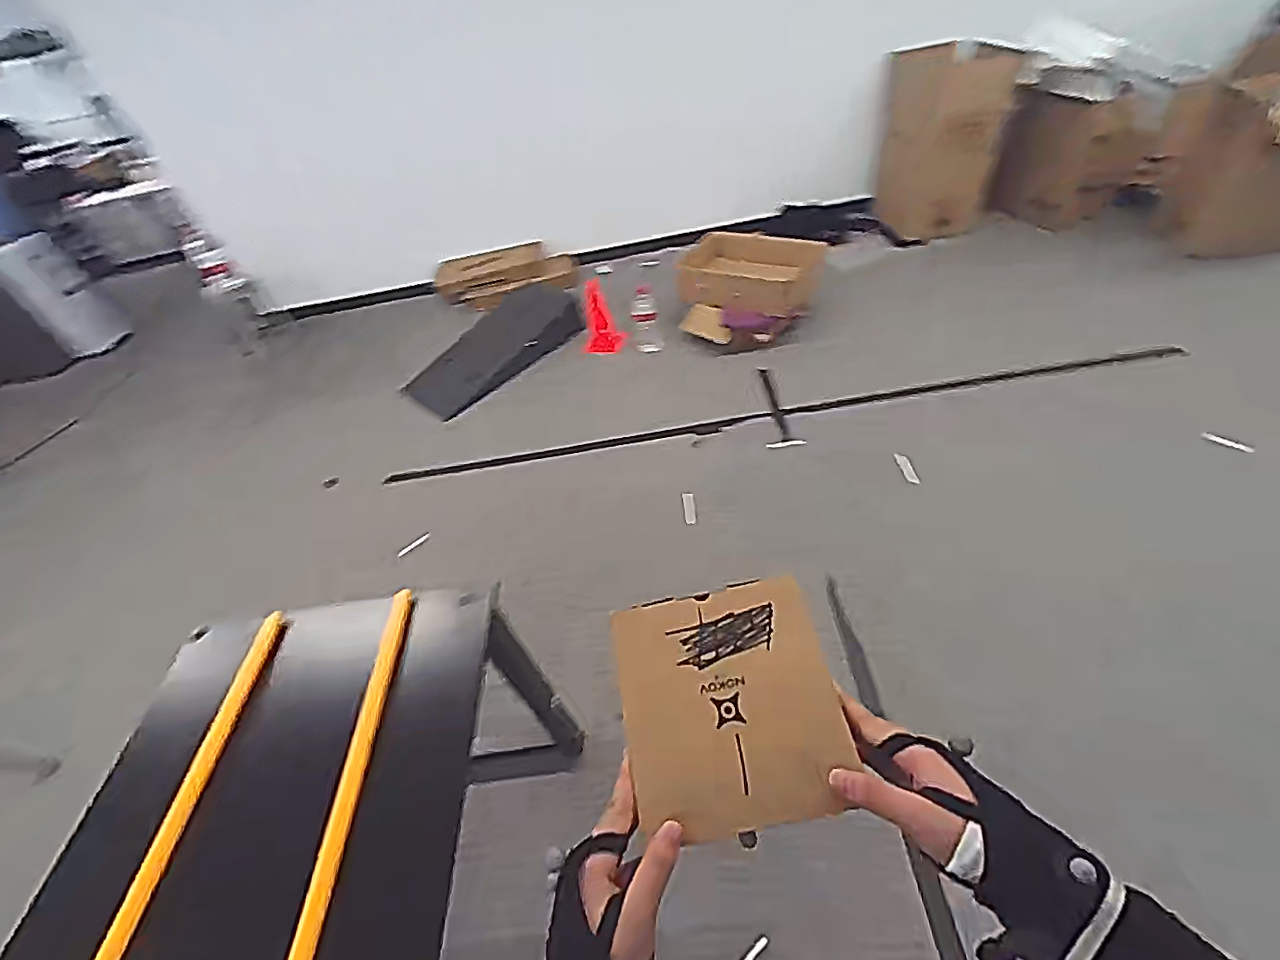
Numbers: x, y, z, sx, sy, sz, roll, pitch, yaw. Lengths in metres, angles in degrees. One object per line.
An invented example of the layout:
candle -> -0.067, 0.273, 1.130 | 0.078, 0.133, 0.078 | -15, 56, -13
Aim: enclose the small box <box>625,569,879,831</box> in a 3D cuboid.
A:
small box -> 0.087, 0.204, 0.494 | 0.168, 0.176, 0.179 | -12, 59, 2
